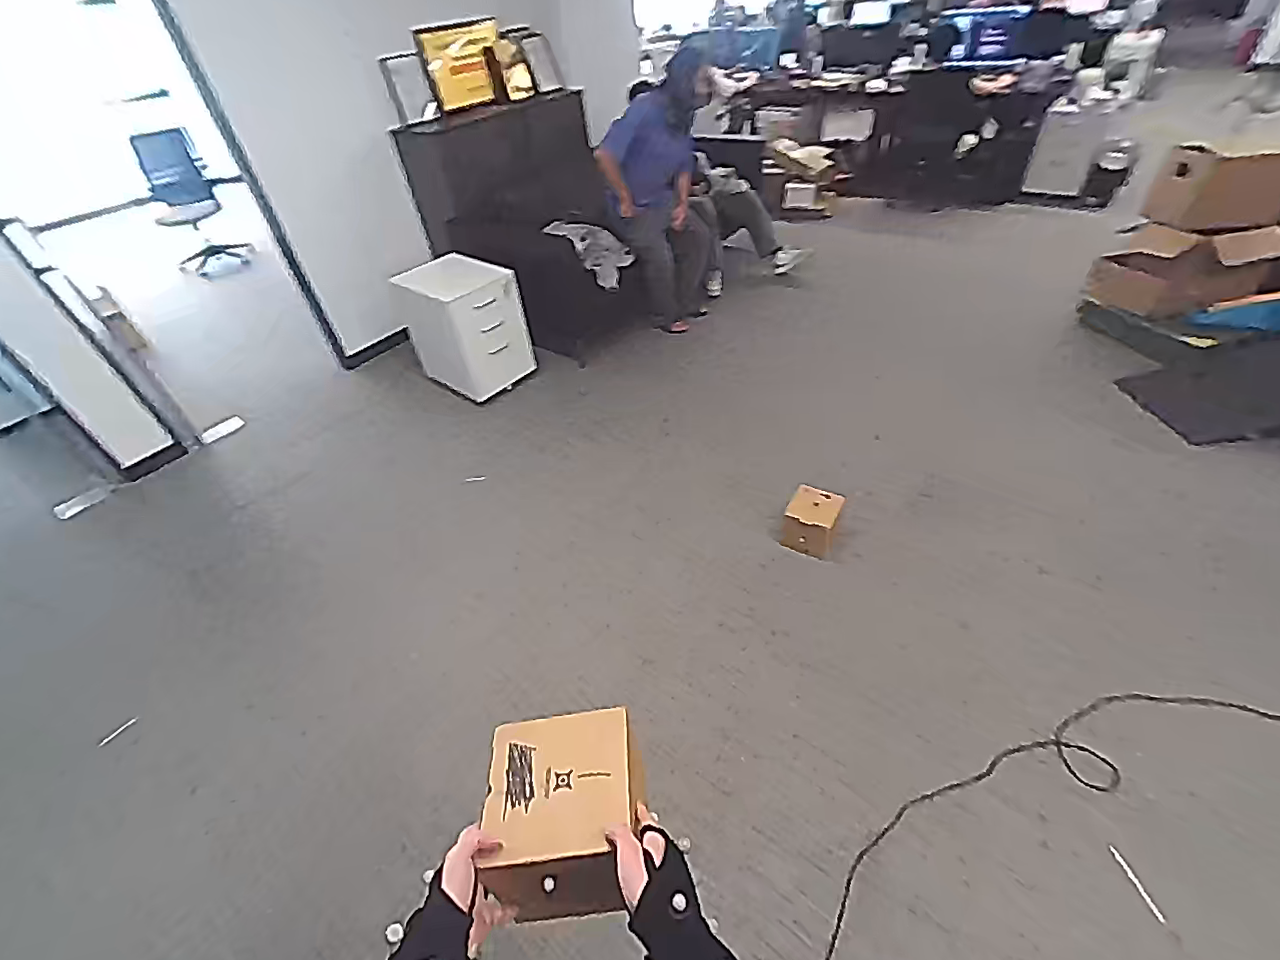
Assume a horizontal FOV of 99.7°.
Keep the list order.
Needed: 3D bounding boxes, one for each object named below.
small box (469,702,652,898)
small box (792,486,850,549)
[{"bbox_3d":[-0.086,0.410,0.692,0.179,0.176,0.168,-8,36,8],"label":"small box"},{"bbox_3d":[0.653,0.140,1.976,0.179,0.176,0.168,-3,40,7],"label":"small box"}]
